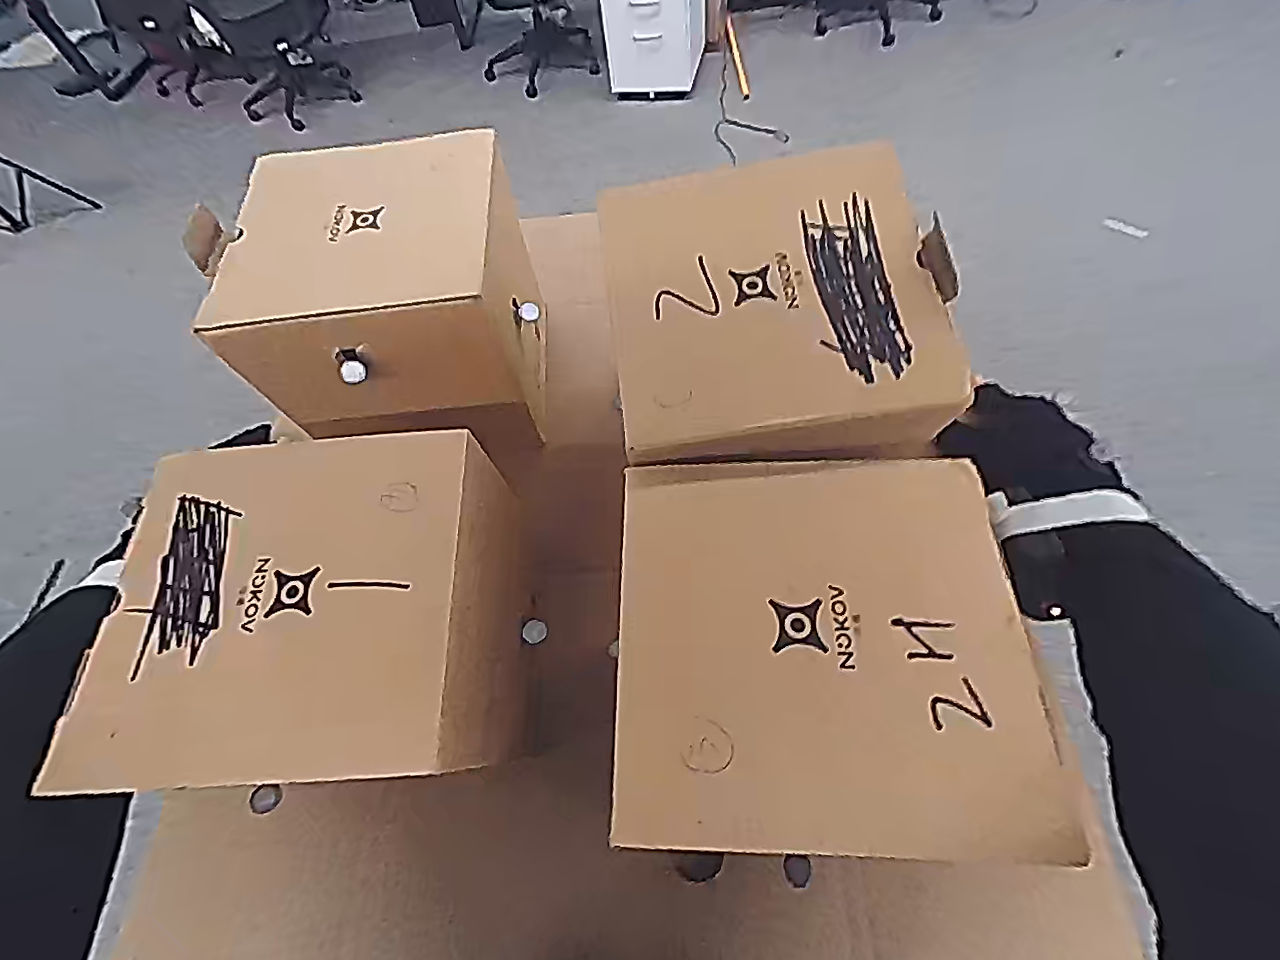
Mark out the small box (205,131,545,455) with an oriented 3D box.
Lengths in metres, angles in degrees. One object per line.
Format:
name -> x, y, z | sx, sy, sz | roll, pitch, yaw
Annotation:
small box -> -0.178, -0.136, 0.431 | 0.179, 0.176, 0.168 | -7, 62, 3
